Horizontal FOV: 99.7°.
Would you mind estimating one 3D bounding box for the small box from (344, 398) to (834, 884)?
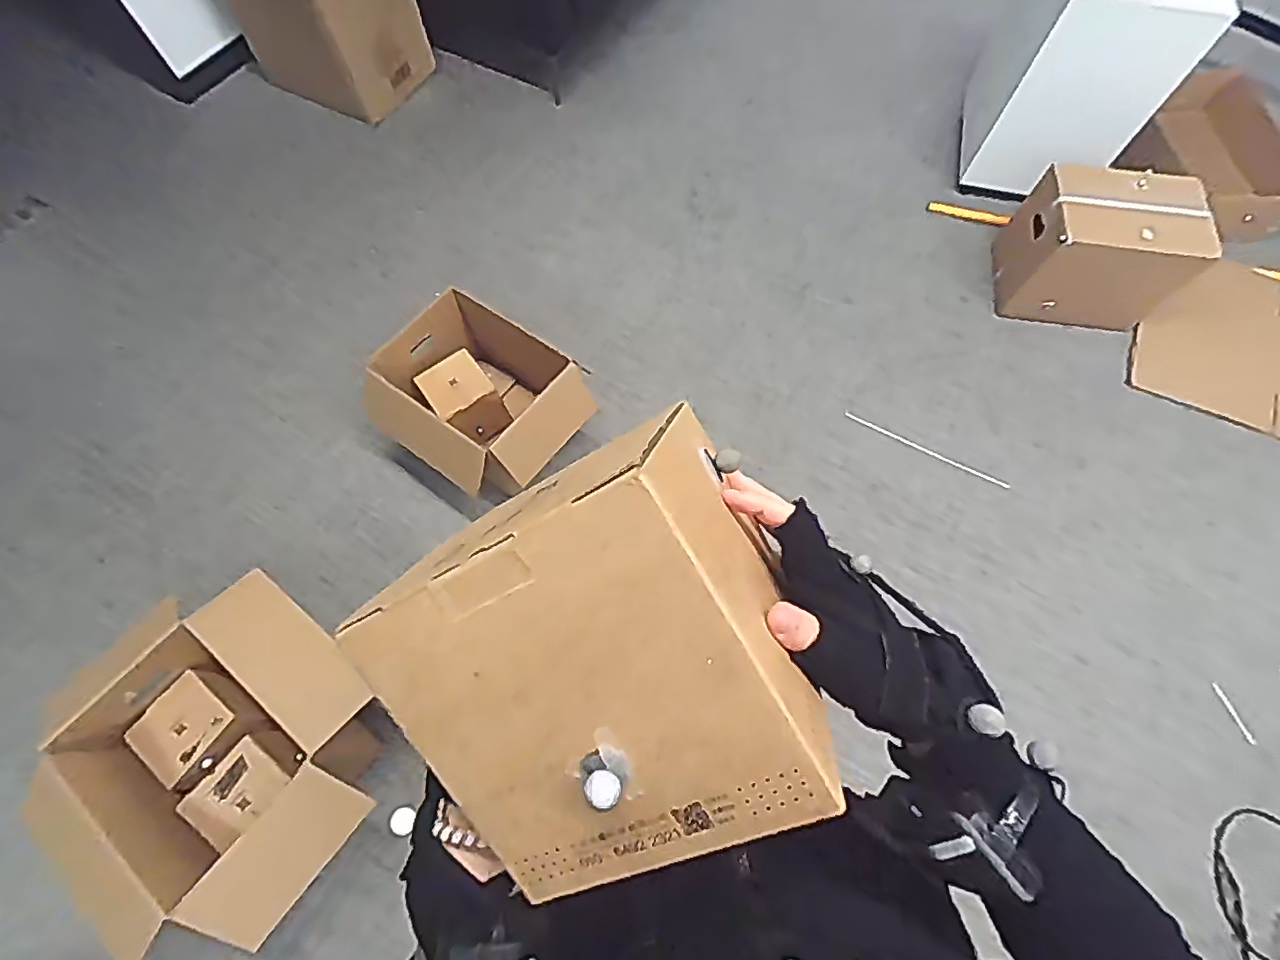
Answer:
[{"bbox_3d":[-0.011,0.074,0.310,0.168,0.179,0.176,-29,99,17],"label":"small box"}]
